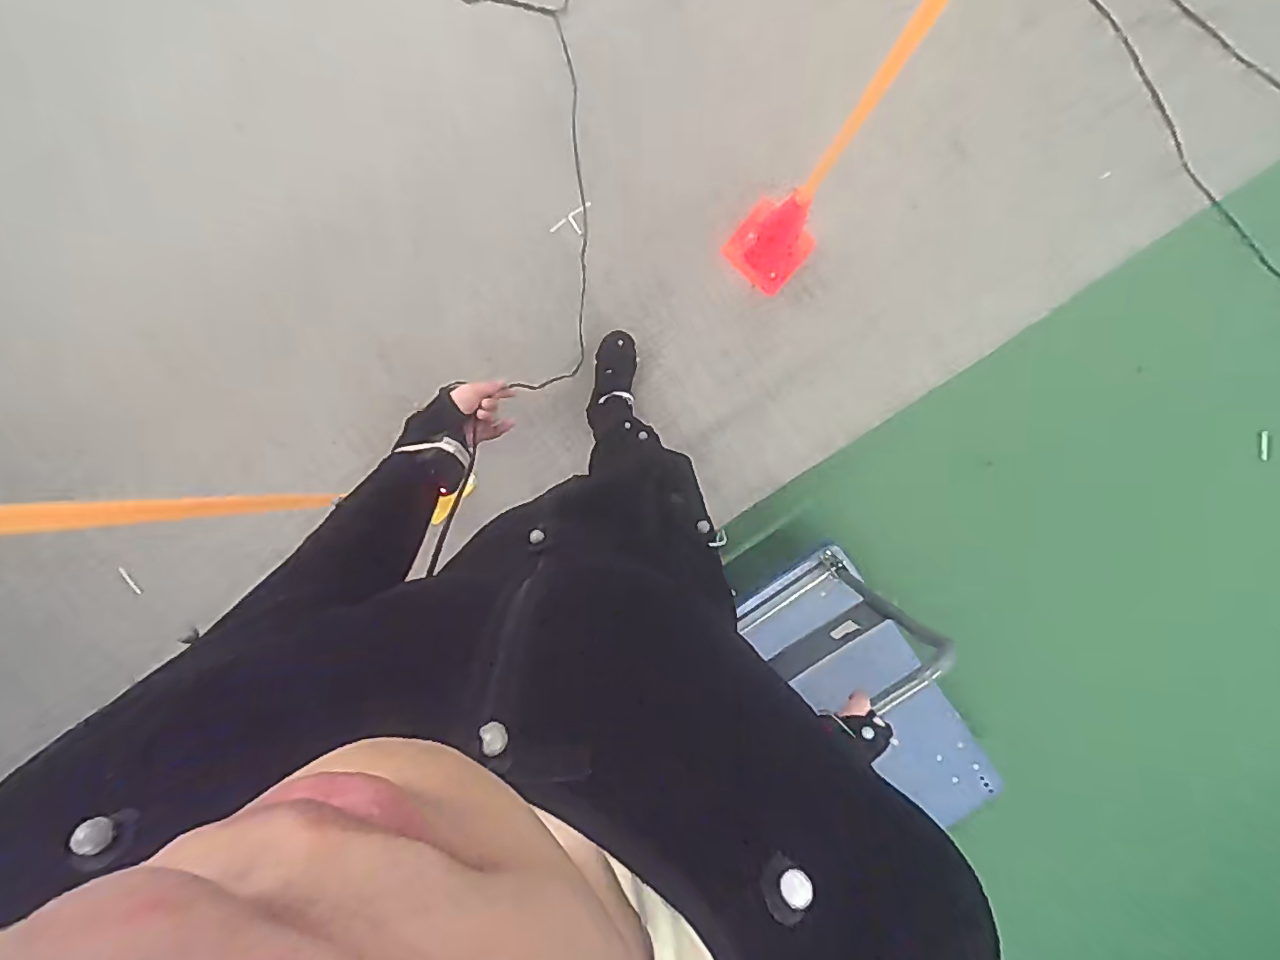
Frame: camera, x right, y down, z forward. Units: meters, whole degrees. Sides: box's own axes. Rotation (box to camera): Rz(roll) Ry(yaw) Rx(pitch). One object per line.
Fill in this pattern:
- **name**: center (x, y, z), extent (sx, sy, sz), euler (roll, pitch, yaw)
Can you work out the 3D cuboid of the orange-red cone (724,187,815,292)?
- **orange-red cone**: center (0.364, -0.641, 1.353), extent (0.198, 0.360, 0.199), euler (41, 94, -4)
